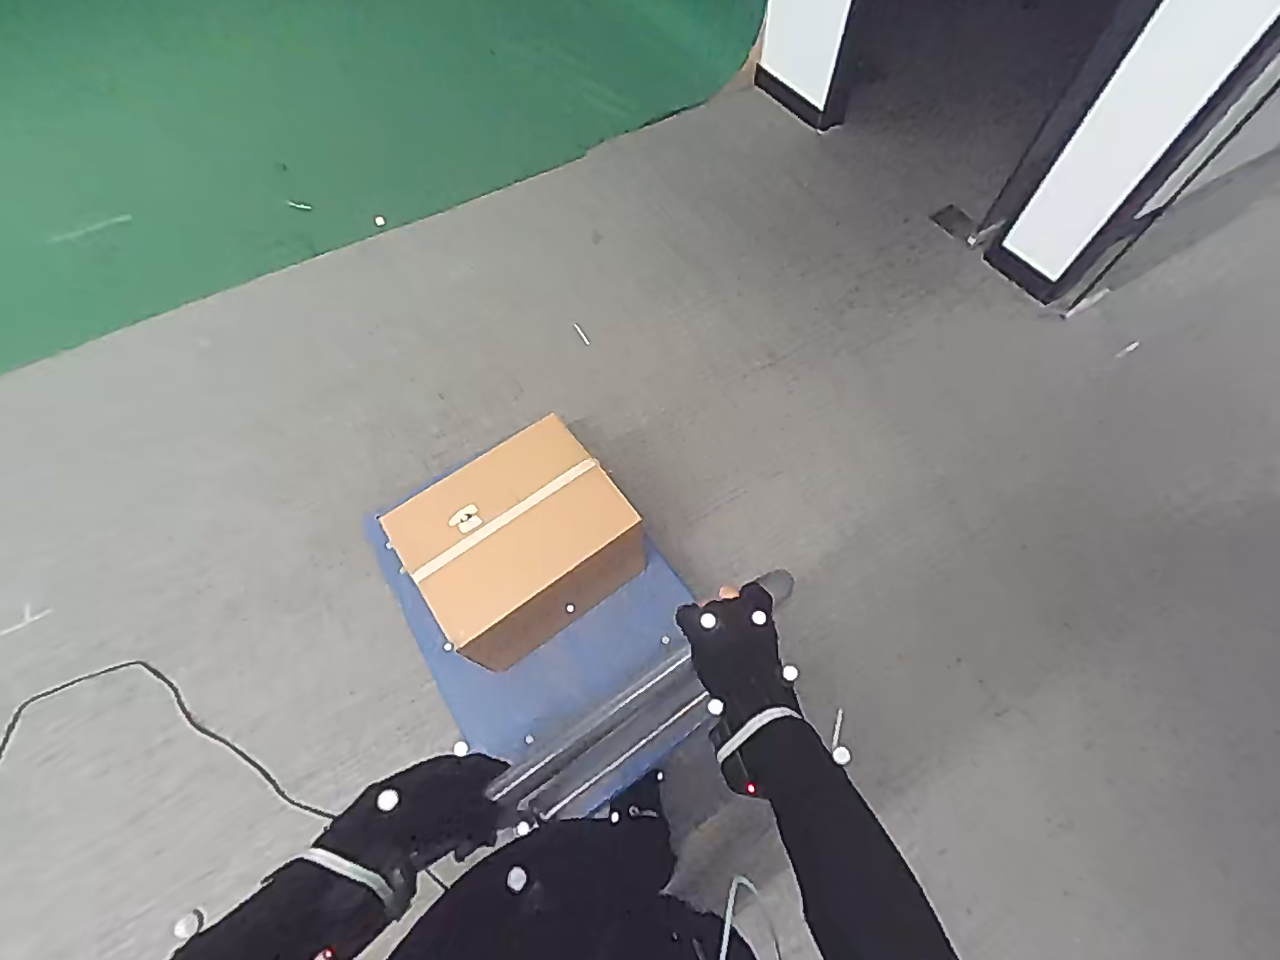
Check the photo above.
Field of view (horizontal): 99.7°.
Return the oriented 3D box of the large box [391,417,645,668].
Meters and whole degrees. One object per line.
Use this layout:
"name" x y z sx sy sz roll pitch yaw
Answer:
"large box" -0.236 0.145 1.180 0.408 0.320 0.320 -35 67 -15
